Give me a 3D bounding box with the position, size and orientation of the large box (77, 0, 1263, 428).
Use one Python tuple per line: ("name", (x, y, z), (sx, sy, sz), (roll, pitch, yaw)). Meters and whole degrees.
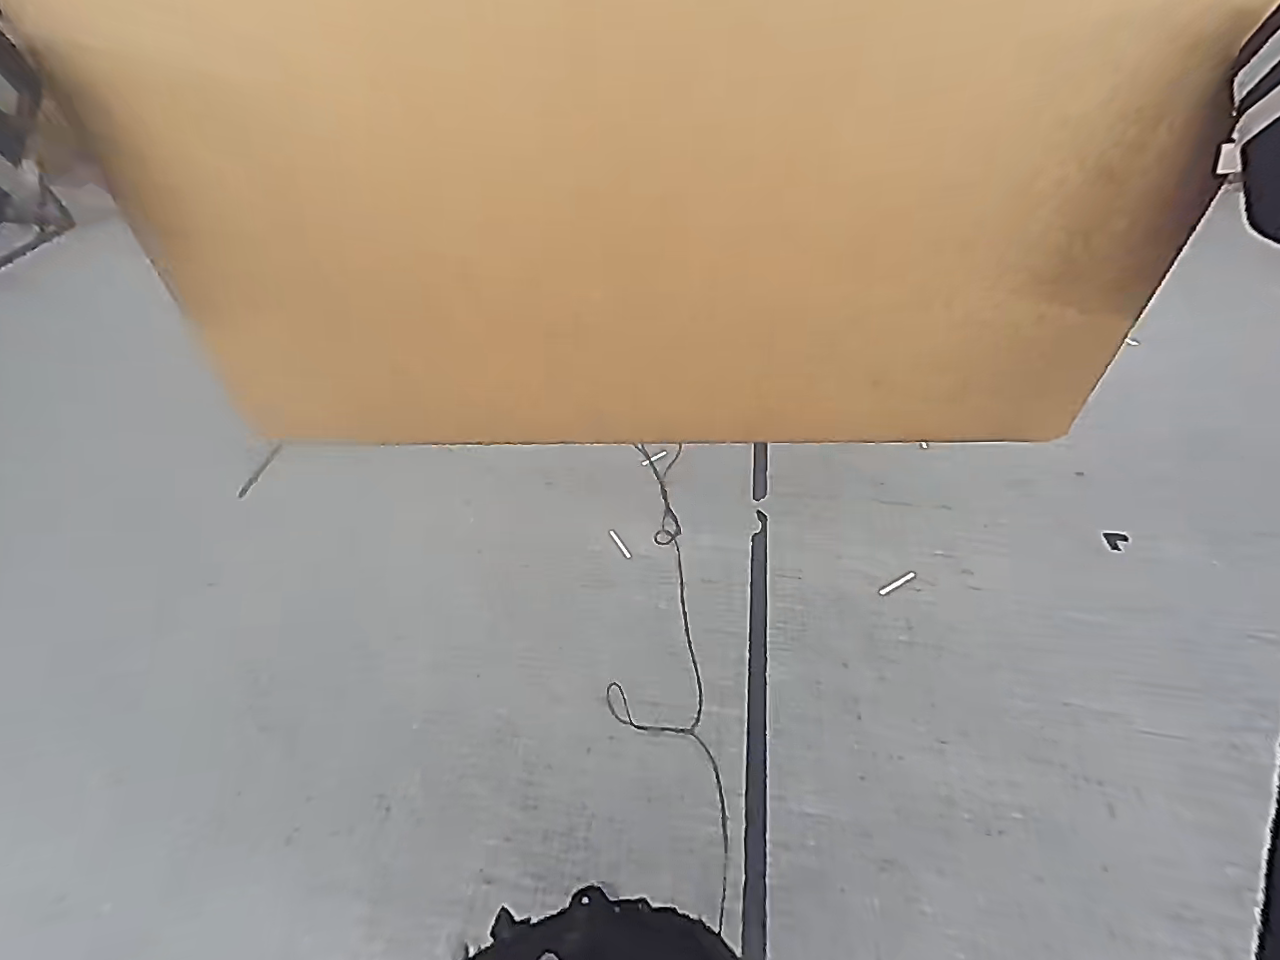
("large box", (0.010, -0.237, 0.304), (0.408, 0.320, 0.320), (0, 41, -1))
